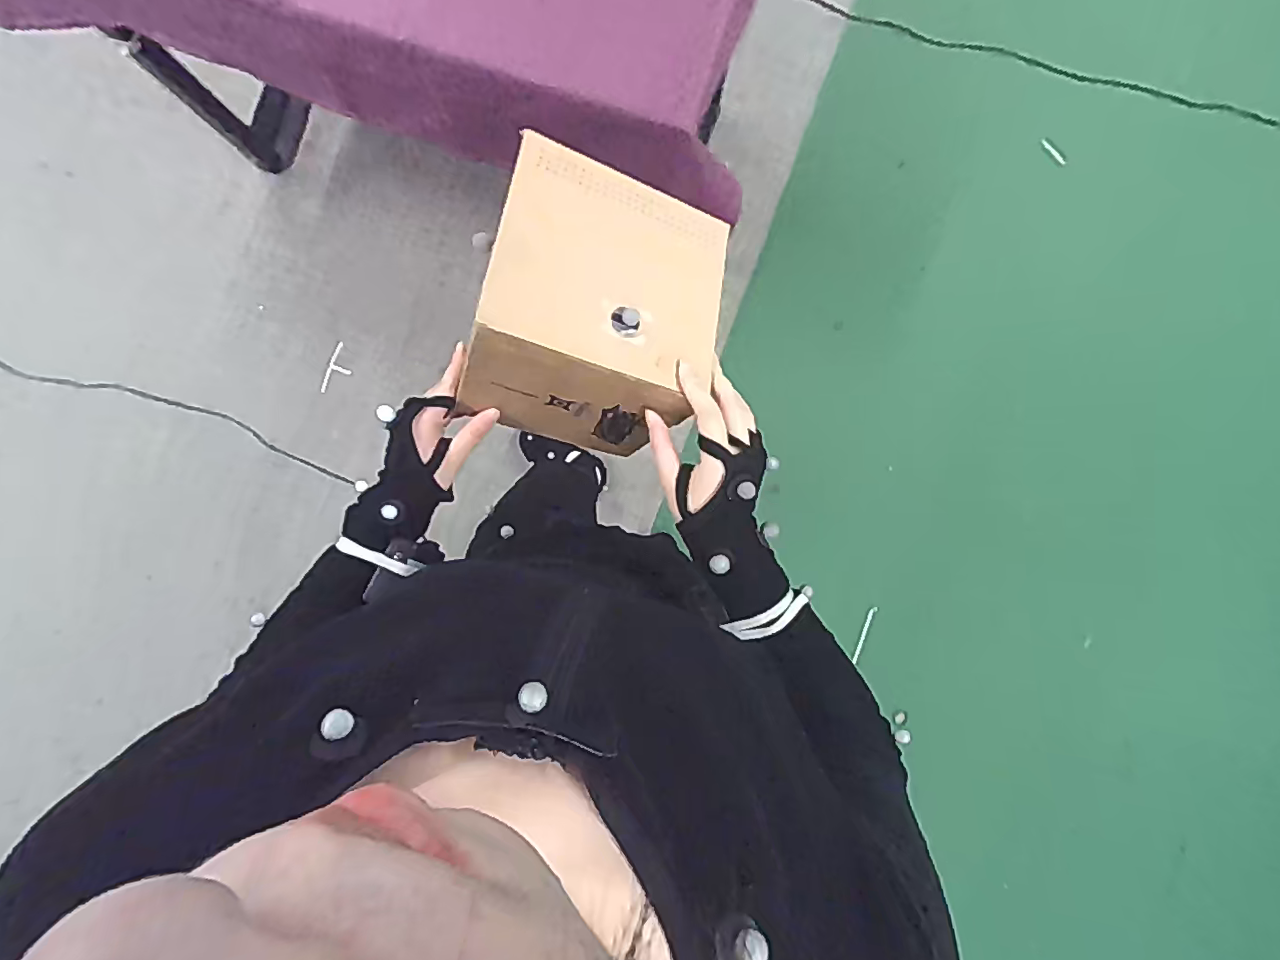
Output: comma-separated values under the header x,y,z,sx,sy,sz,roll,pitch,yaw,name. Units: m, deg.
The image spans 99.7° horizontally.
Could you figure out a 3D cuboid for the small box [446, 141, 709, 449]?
x,y,z,sx,sy,sz,roll,pitch,yaw,name
-0.055,-0.145,0.470,0.179,0.168,0.176,15,72,-20,small box
